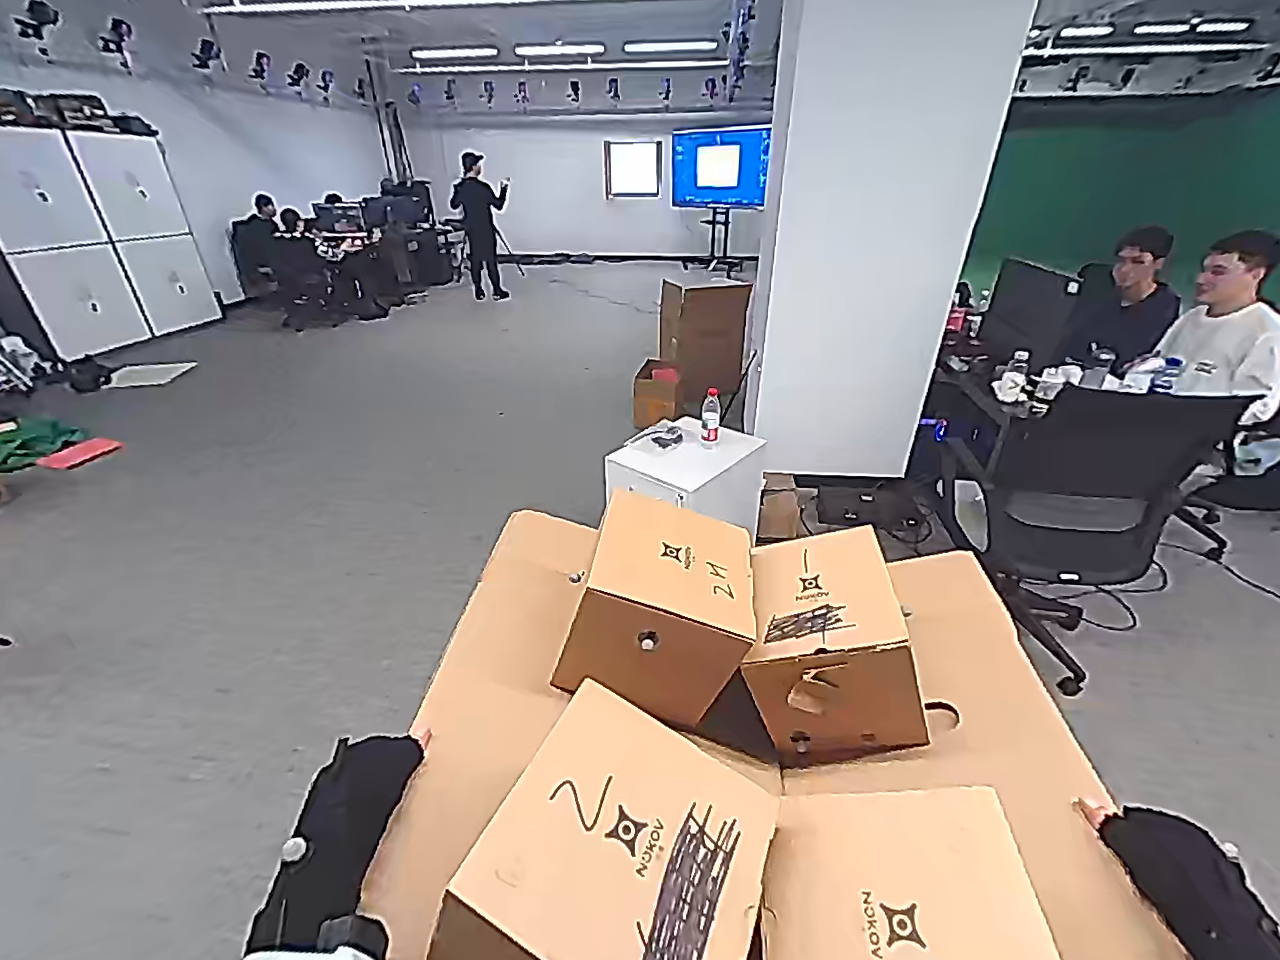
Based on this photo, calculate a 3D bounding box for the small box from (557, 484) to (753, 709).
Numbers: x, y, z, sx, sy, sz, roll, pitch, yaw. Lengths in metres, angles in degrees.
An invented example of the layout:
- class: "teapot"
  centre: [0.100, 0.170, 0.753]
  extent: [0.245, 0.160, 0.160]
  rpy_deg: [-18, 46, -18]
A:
- class: "small box"
  centre: [0.016, 0.137, 0.631]
  extent: [0.179, 0.176, 0.168]
  rpy_deg: [19, 36, -4]
